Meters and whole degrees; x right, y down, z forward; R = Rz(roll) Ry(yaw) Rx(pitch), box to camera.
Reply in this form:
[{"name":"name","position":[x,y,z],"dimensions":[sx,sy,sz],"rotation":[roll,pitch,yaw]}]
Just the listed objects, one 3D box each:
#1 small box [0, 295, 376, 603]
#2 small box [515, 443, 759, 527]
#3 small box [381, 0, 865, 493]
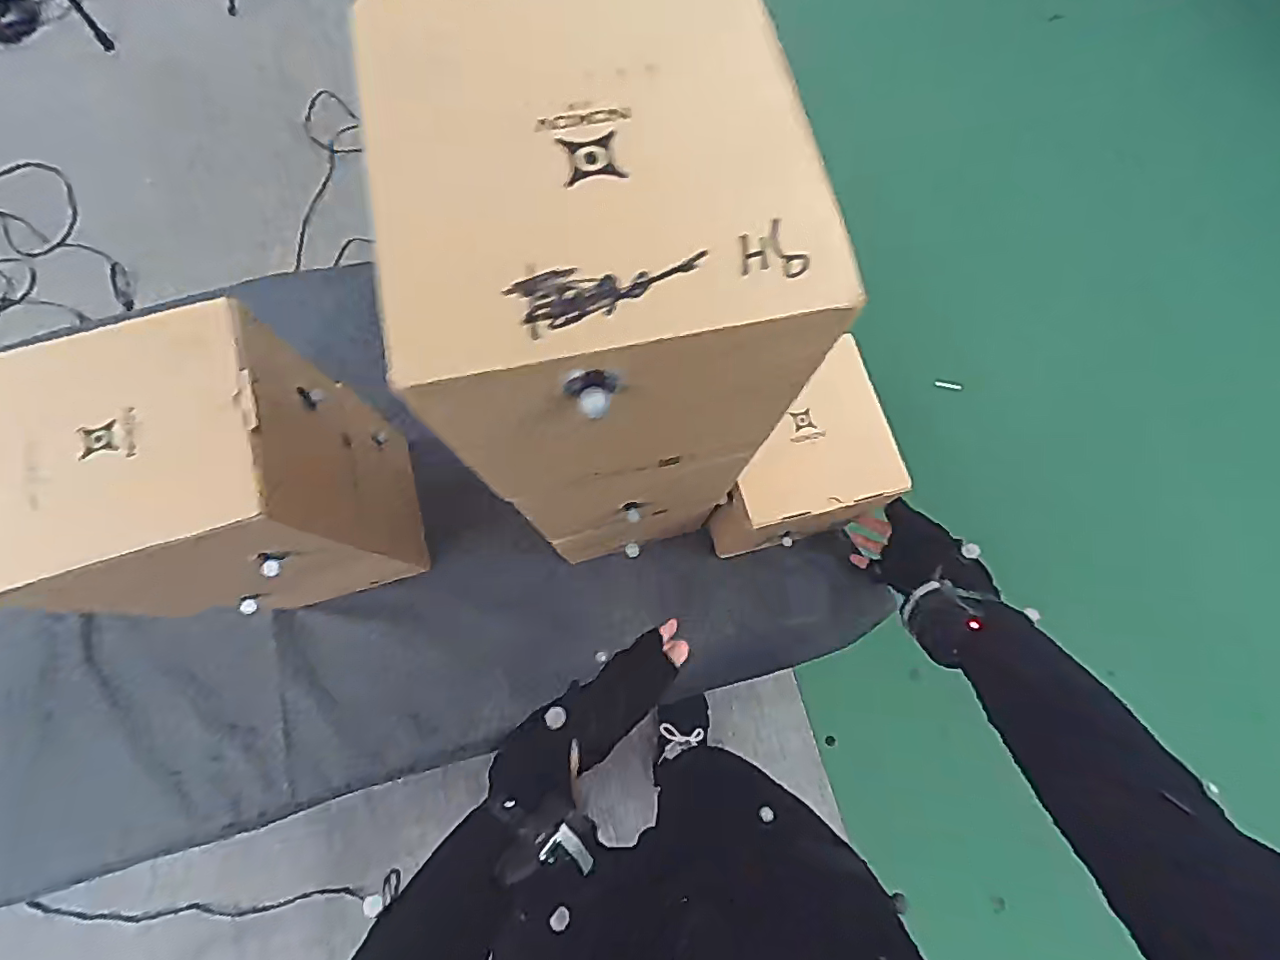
[{"name":"small box","position":[-0.332,-0.009,0.425],"dimensions":[0.179,0.176,0.168],"rotation":[-17,75,-5]},{"name":"small box","position":[-0.018,-0.065,0.446],"dimensions":[0.168,0.176,0.179],"rotation":[-13,75,-5]},{"name":"small box","position":[-0.016,-0.108,0.287],"dimensions":[0.168,0.176,0.179],"rotation":[-11,74,-4]}]
